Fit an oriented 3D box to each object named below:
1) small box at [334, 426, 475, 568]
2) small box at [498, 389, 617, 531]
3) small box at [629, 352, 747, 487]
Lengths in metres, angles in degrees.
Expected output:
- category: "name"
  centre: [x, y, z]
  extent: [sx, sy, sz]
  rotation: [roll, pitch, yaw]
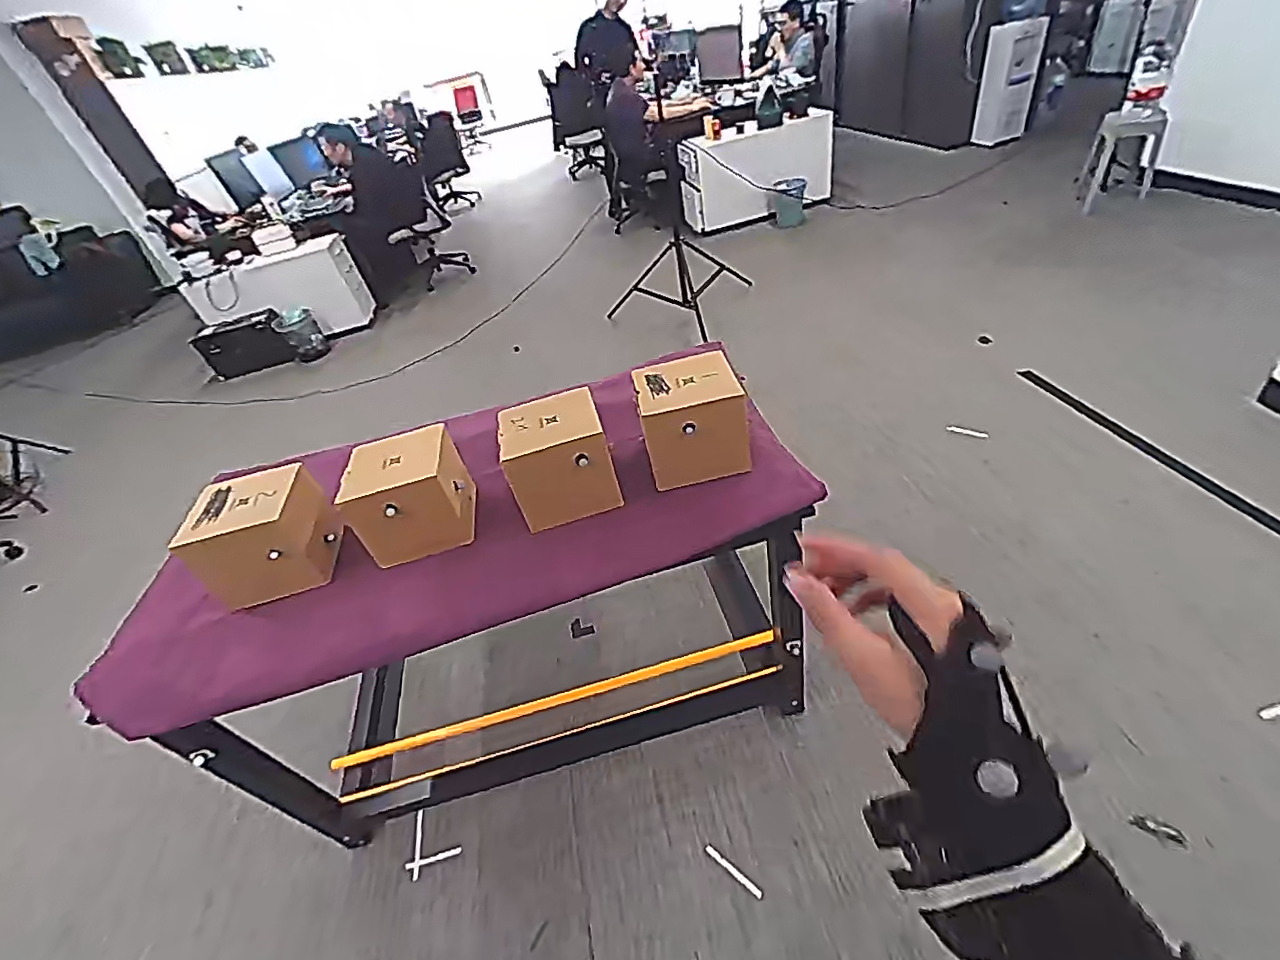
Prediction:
- category: "small box"
  centre: [-0.416, 0.033, 0.994]
  extent: [0.179, 0.176, 0.168]
  rotation: [-17, 40, -2]
- category: "small box"
  centre: [-0.147, -0.036, 0.984]
  extent: [0.179, 0.176, 0.168]
  rotation: [-17, 38, -3]
- category: "small box"
  centre: [0.088, -0.108, 0.994]
  extent: [0.179, 0.176, 0.168]
  rotation: [-13, 39, 2]
